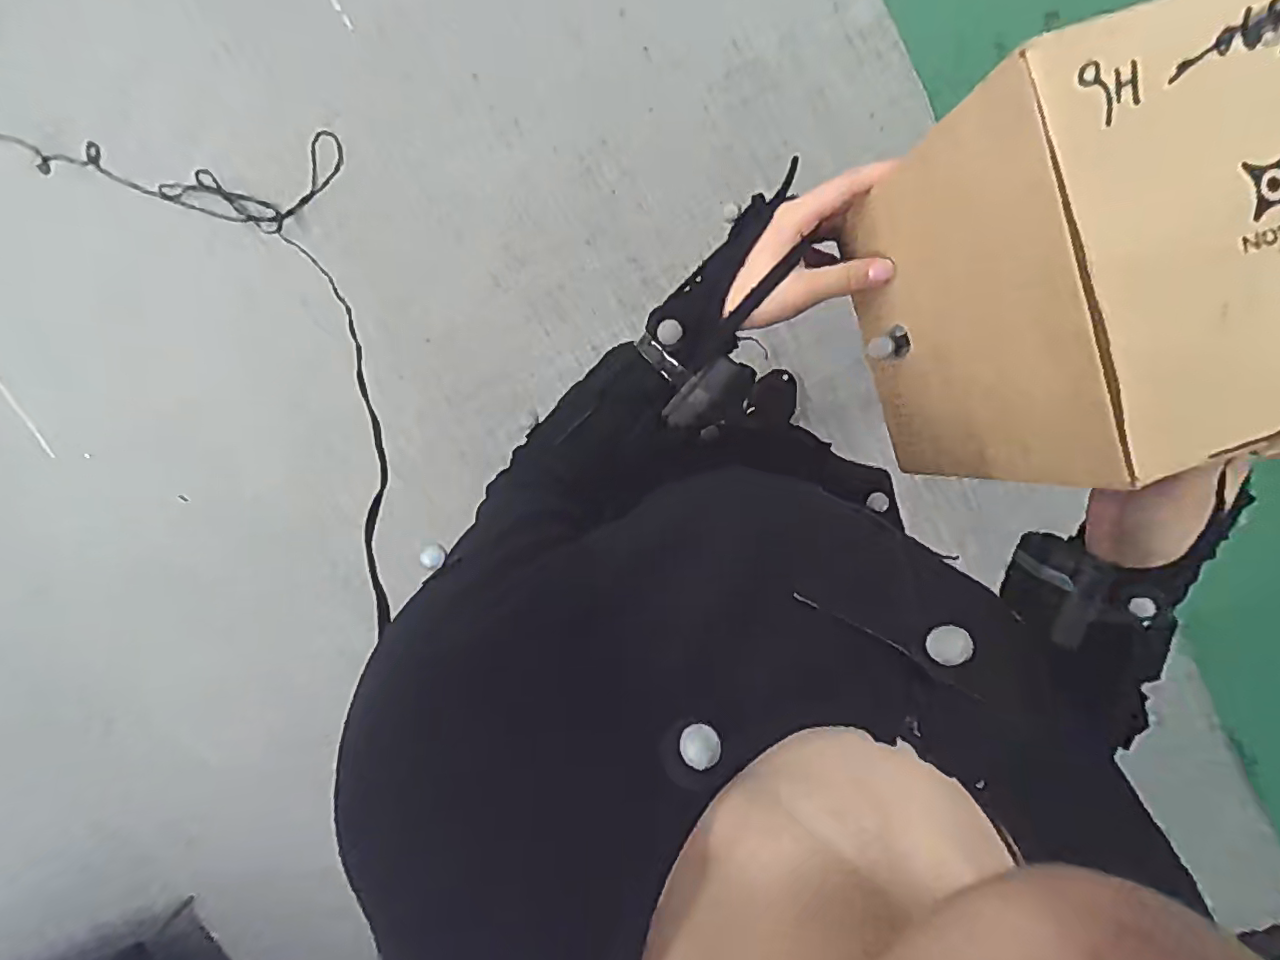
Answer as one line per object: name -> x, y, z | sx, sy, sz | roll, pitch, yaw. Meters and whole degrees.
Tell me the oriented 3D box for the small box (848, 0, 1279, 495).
small box -> 0.241, -0.104, 0.294 | 0.168, 0.176, 0.179 | -17, 95, -3
